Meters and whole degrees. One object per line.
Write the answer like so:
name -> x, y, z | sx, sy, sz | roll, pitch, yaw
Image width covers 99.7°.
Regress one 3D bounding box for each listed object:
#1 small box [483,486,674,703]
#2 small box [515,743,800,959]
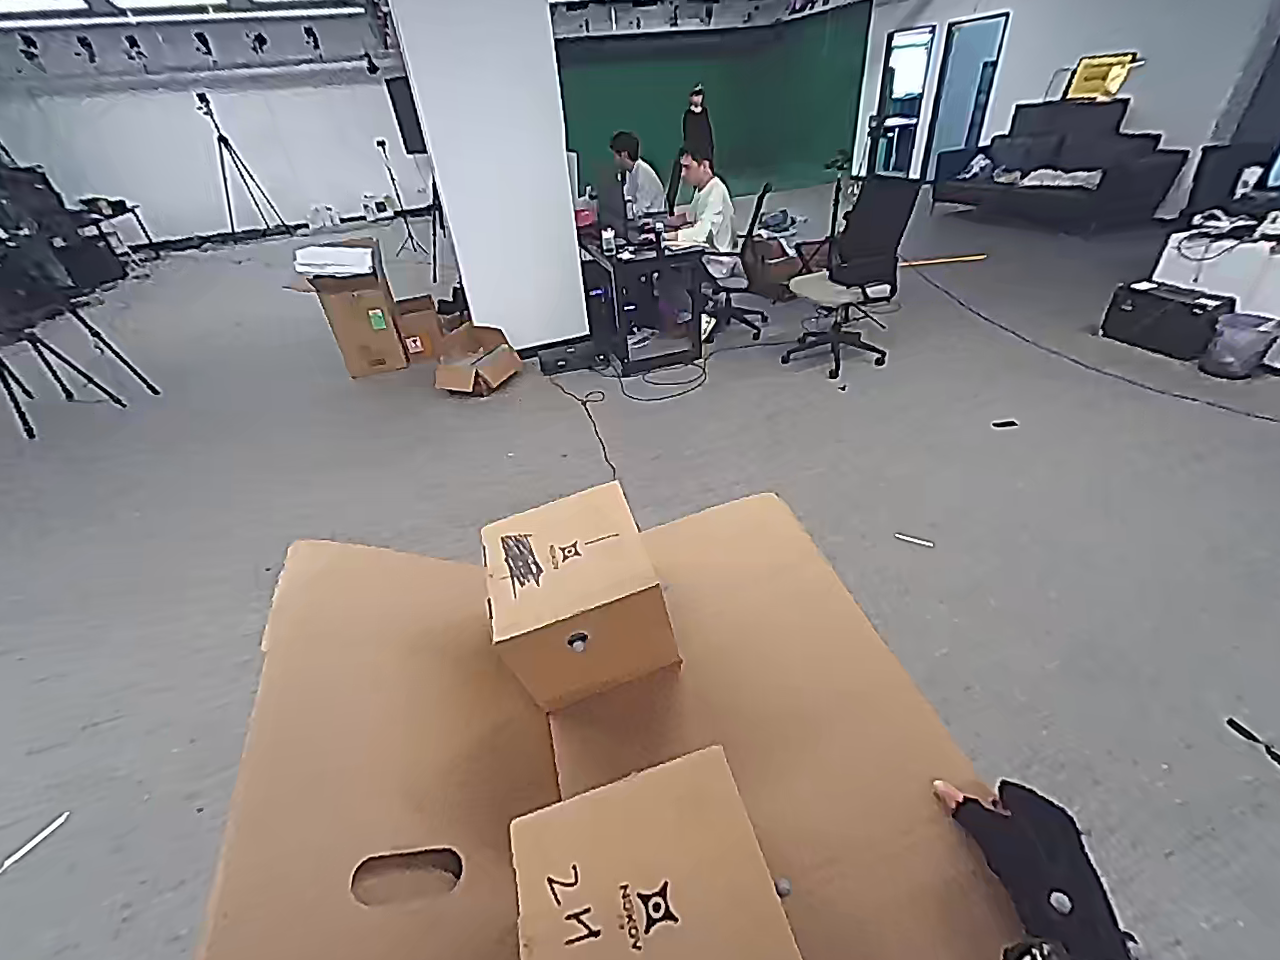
small box -> -0.072, 0.143, 0.662 | 0.179, 0.176, 0.168 | -19, 44, -5
small box -> 0.017, 0.345, 0.434 | 0.179, 0.176, 0.168 | -19, 44, -3
